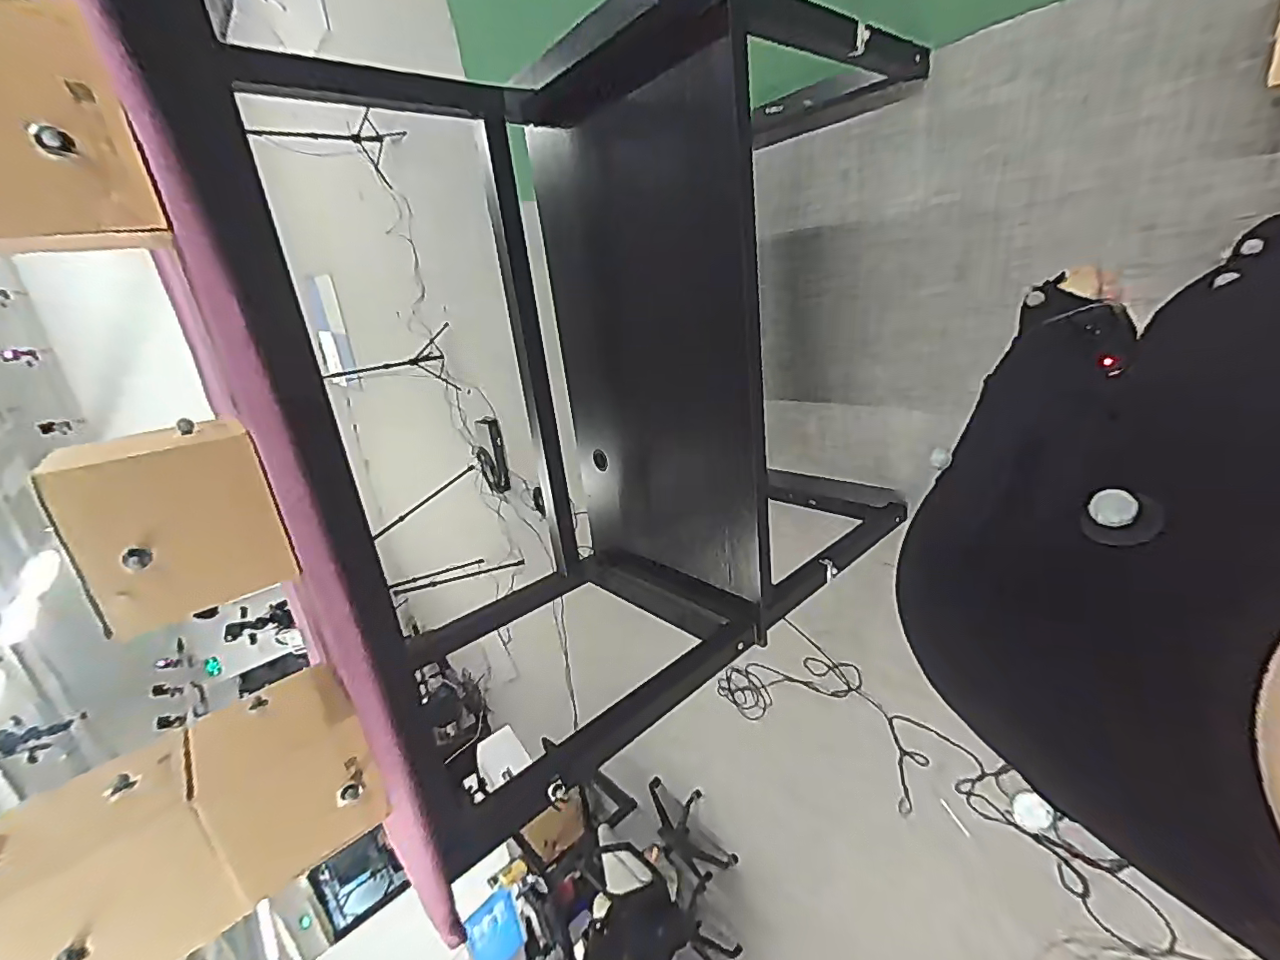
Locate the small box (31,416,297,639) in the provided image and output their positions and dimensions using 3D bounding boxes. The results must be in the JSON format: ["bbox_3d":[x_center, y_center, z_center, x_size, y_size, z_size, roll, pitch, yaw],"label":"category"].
[{"bbox_3d":[-0.512,0.039,0.608,0.168,0.176,0.179,16,119,48],"label":"small box"}]

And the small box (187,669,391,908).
[{"bbox_3d":[-0.445,0.372,0.695,0.179,0.176,0.168,9,115,48],"label":"small box"}]

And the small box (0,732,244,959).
[{"bbox_3d":[-0.568,0.427,0.600,0.168,0.176,0.179,8,115,49],"label":"small box"}]

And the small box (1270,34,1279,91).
[{"bbox_3d":[1.036,-0.675,0.761,0.168,0.176,0.179,13,118,49],"label":"small box"}]

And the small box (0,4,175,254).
[{"bbox_3d":[-0.550,-0.297,0.484,0.179,0.176,0.168,20,124,47],"label":"small box"}]
